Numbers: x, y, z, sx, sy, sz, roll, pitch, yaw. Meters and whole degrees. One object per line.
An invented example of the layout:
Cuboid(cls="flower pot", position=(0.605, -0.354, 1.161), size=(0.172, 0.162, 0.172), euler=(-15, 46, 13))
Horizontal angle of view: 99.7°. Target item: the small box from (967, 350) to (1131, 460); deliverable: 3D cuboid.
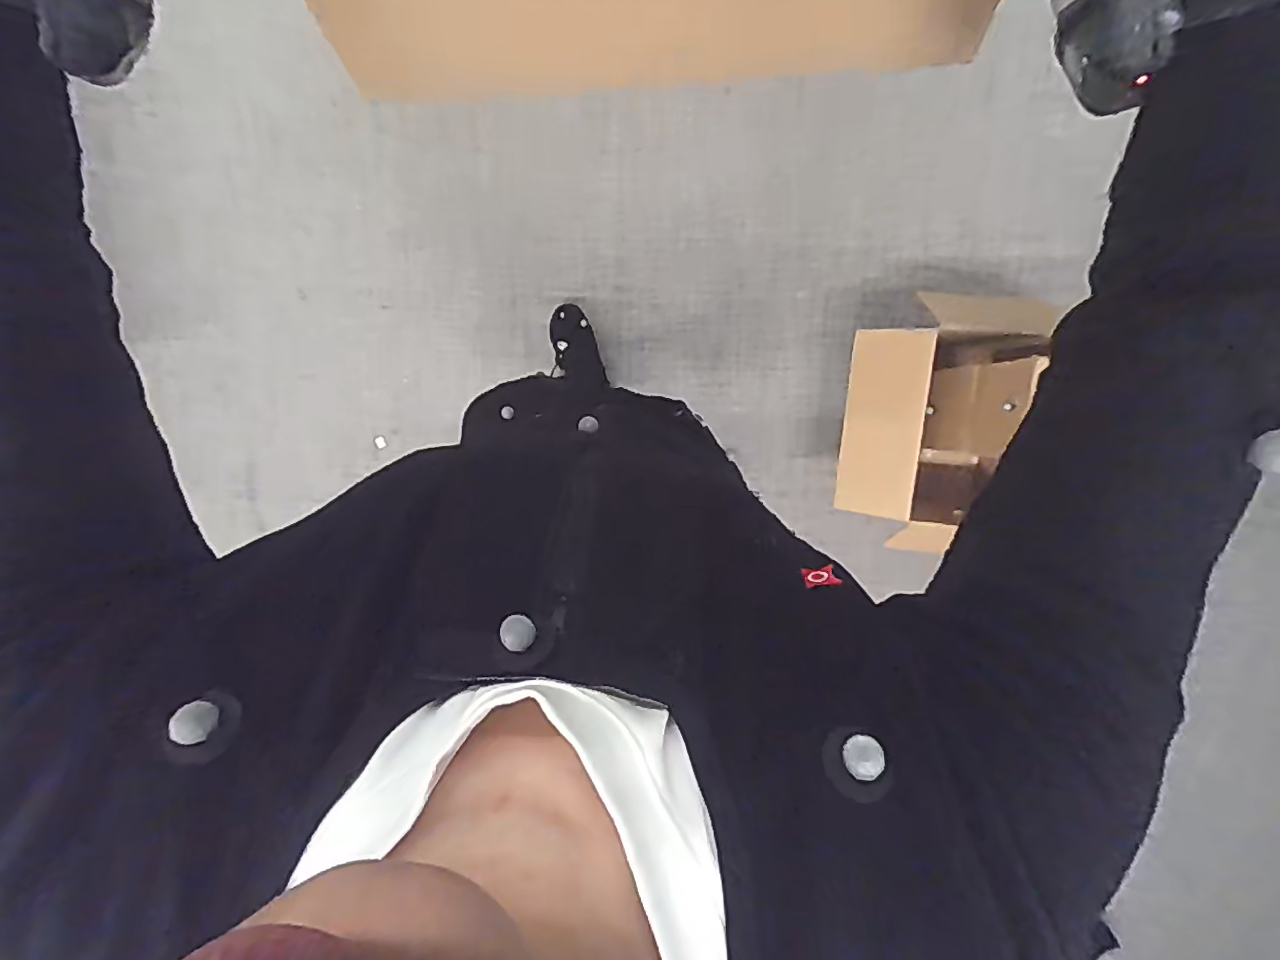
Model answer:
Cuboid(cls="small box", position=(0.732, -0.135, 0.989), size=(0.168, 0.176, 0.179), euler=(4, 98, 1))
